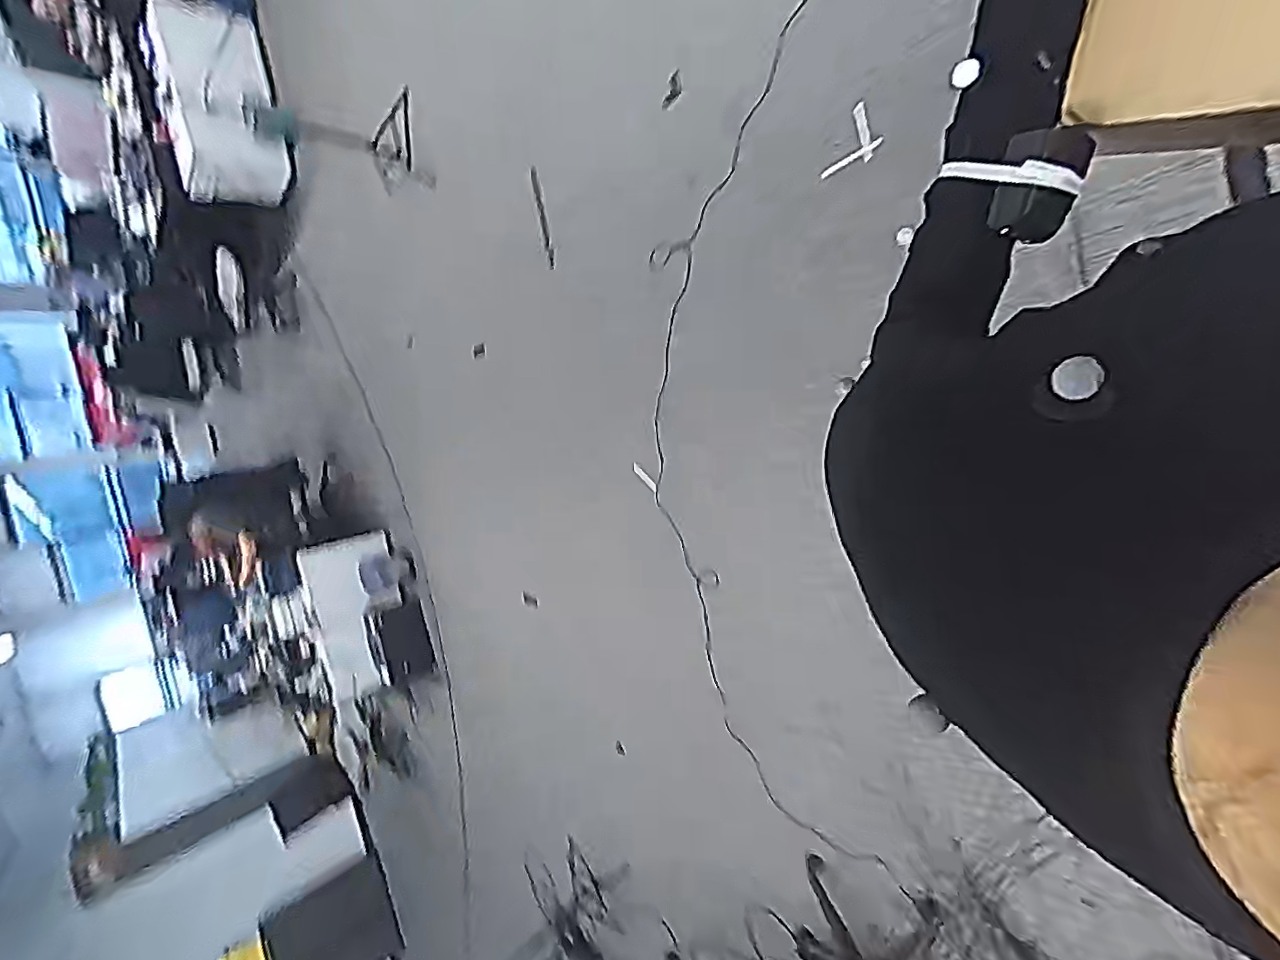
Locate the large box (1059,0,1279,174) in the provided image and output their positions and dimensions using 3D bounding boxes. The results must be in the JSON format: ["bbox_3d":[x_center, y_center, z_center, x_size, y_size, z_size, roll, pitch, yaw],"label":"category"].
[{"bbox_3d":[0.532,-0.383,0.311,0.408,0.320,0.320,16,121,36],"label":"large box"}]
